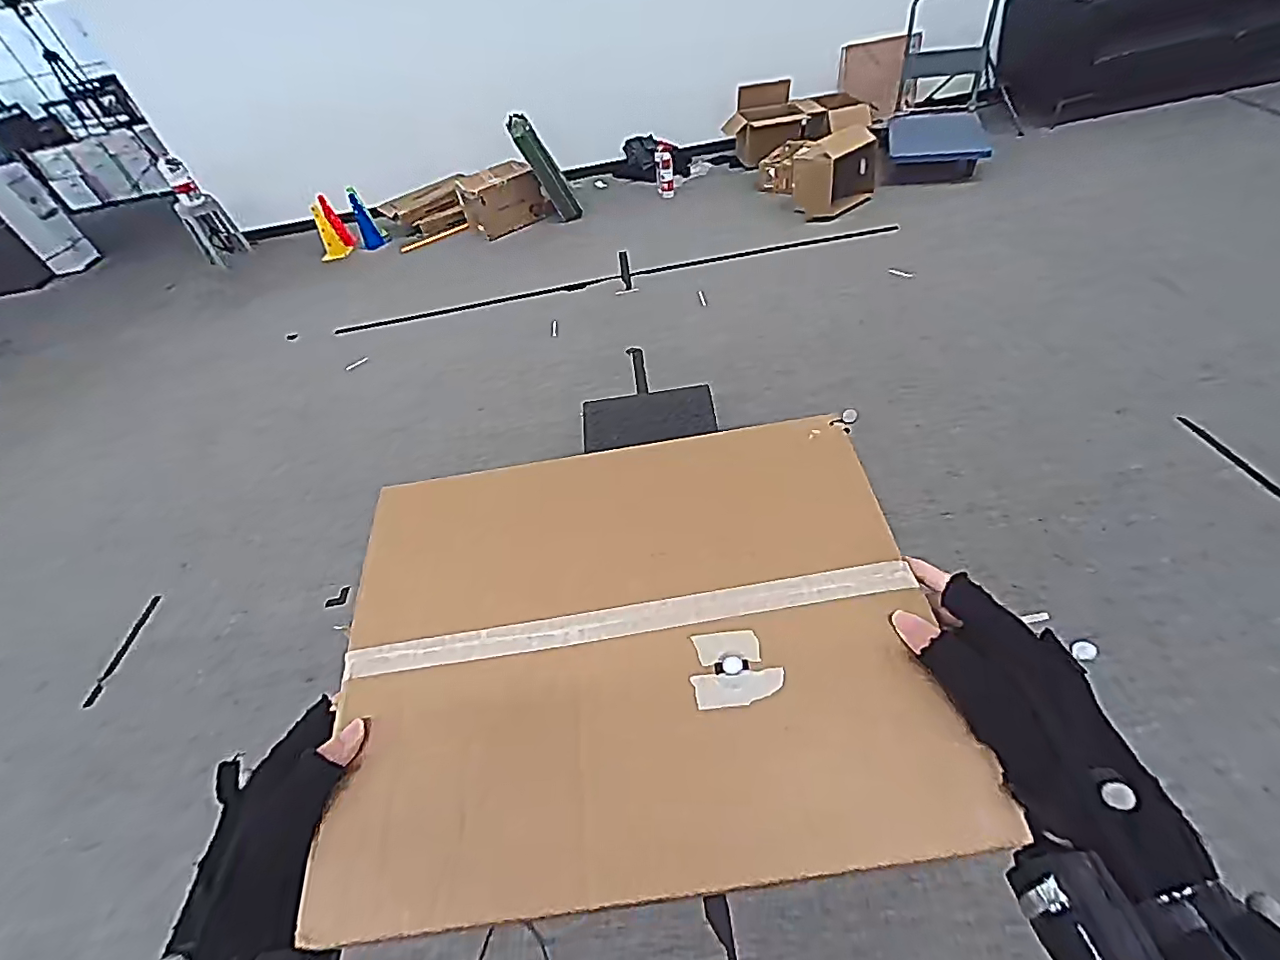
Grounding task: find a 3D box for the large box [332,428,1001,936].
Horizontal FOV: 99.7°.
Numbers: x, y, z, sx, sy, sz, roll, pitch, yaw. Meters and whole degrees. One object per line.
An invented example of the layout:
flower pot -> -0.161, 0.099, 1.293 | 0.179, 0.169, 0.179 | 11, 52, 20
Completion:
large box -> 0.010, 0.194, 0.518 | 0.408, 0.320, 0.320 | -9, 54, 1
